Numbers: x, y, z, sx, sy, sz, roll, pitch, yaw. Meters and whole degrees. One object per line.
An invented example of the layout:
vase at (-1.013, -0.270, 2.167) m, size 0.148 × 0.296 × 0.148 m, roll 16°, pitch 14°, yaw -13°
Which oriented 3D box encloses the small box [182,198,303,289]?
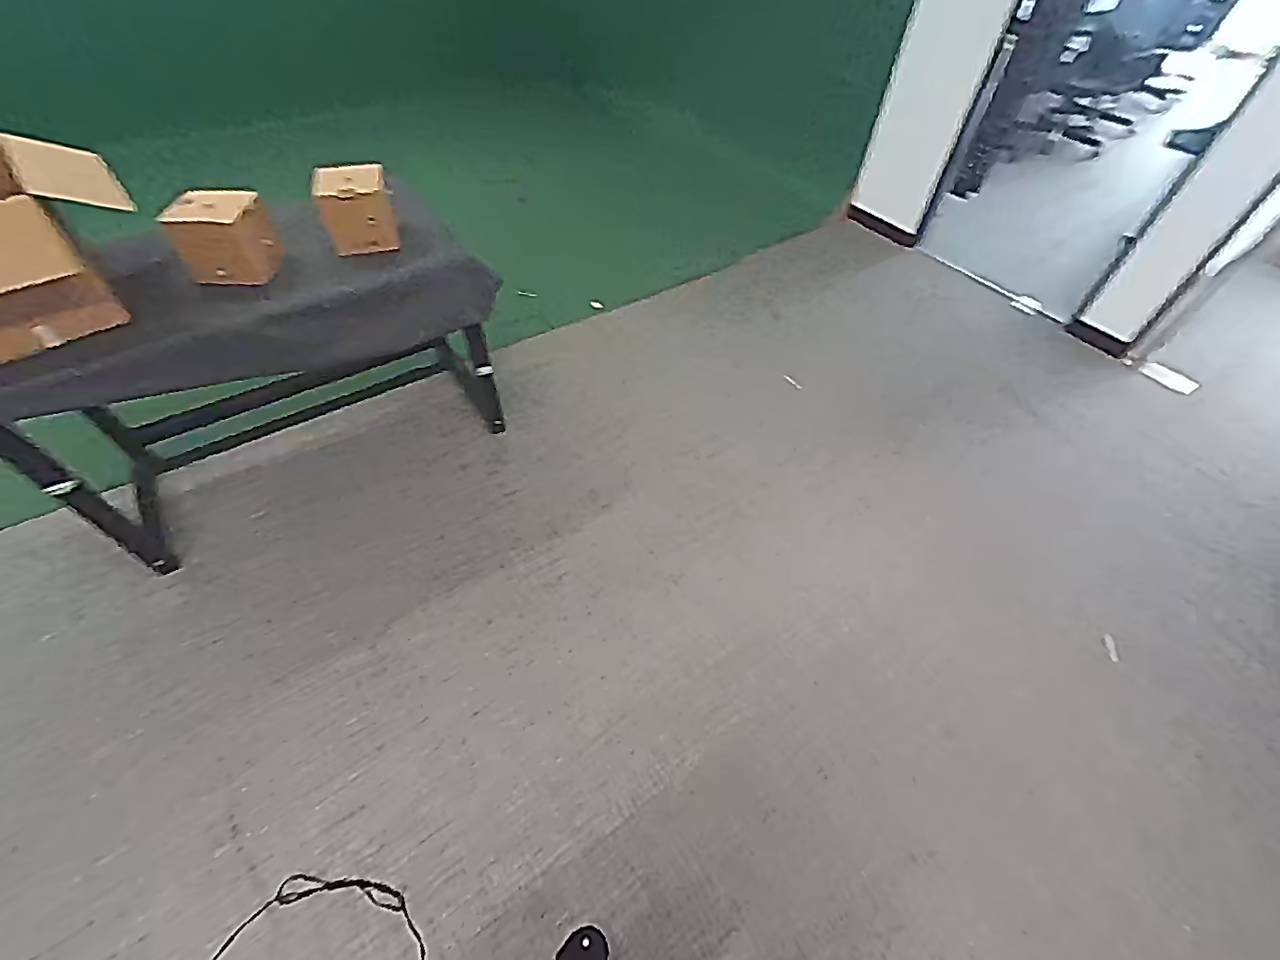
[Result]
small box at (-1.048, -0.629, 1.448) m, size 0.179 × 0.176 × 0.168 m, roll 1°, pitch 52°, yaw -2°

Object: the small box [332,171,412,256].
small box at (-0.768, -0.763, 1.563) m, size 0.168 × 0.176 × 0.179 m, roll -12°, pitch 52°, yaw -12°
